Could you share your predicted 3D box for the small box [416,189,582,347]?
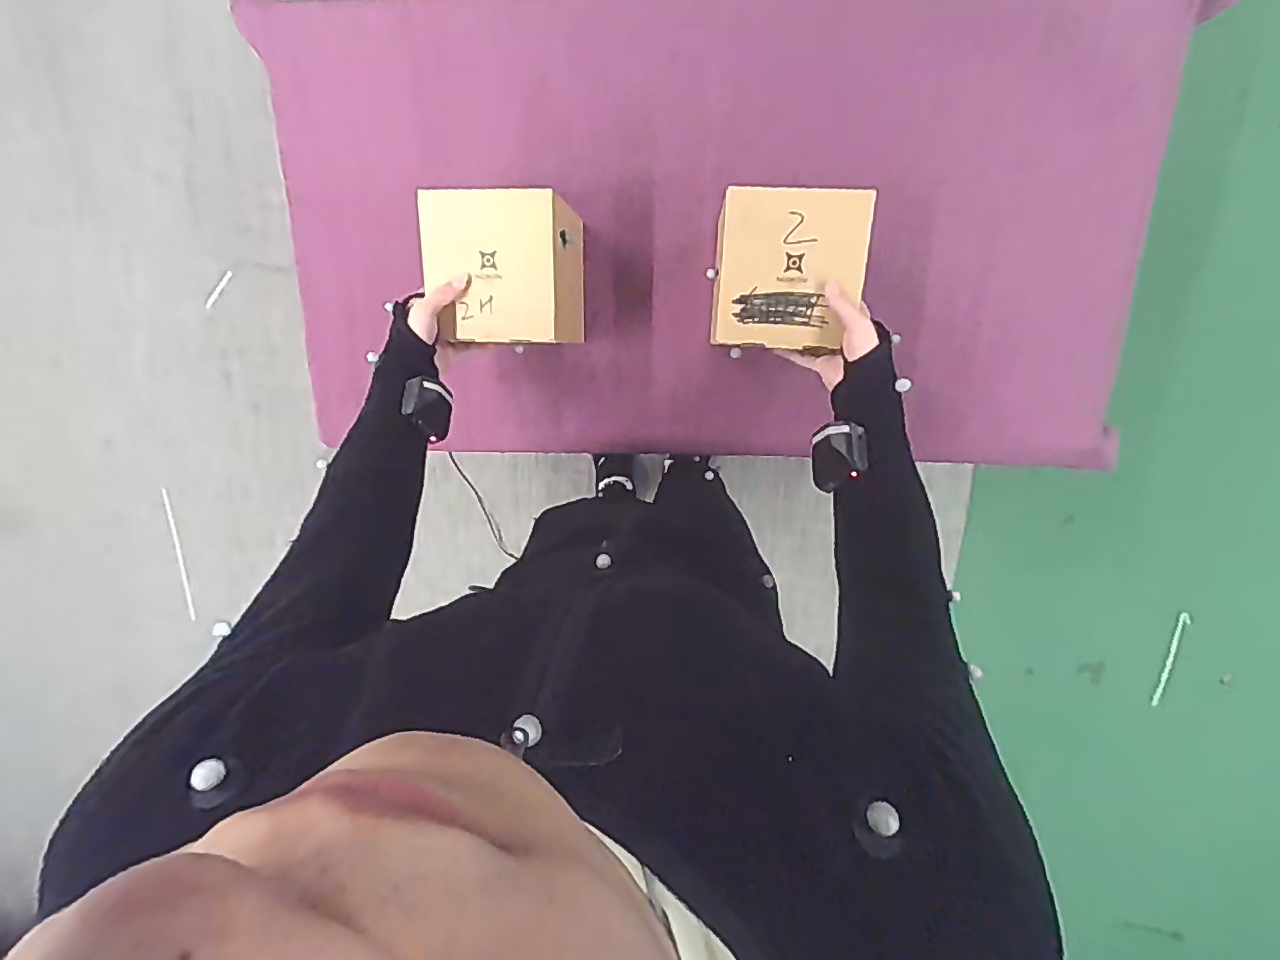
[{"bbox_3d":[-0.175,-0.271,0.720,0.168,0.176,0.179,3,106,6],"label":"small box"}]
